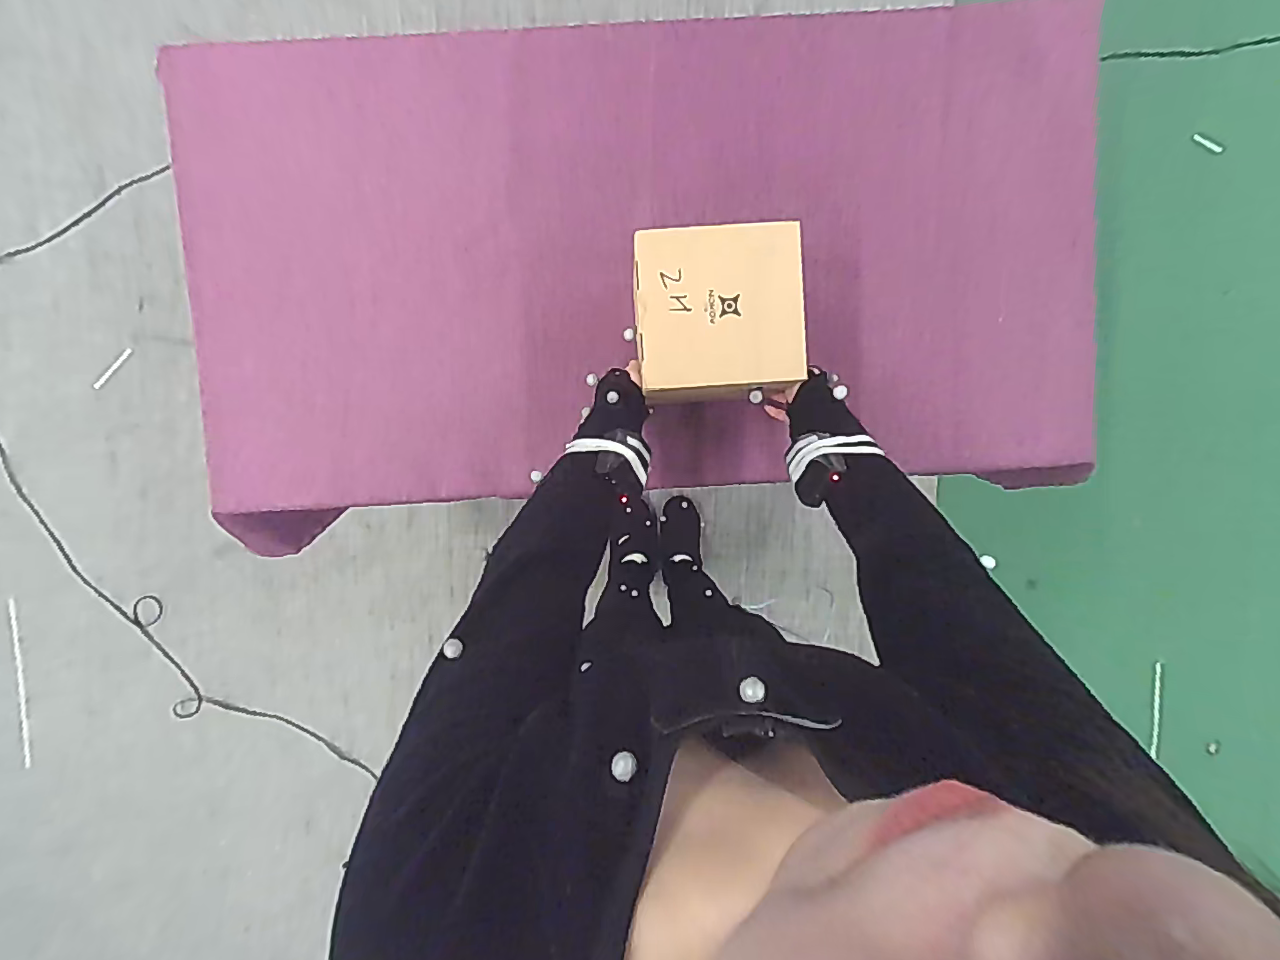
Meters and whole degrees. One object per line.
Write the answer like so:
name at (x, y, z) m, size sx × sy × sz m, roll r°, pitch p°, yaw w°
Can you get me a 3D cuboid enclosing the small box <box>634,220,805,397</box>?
small box at (0.084, -0.192, 0.646) m, size 0.179 × 0.176 × 0.168 m, roll -4°, pitch 94°, yaw 0°
